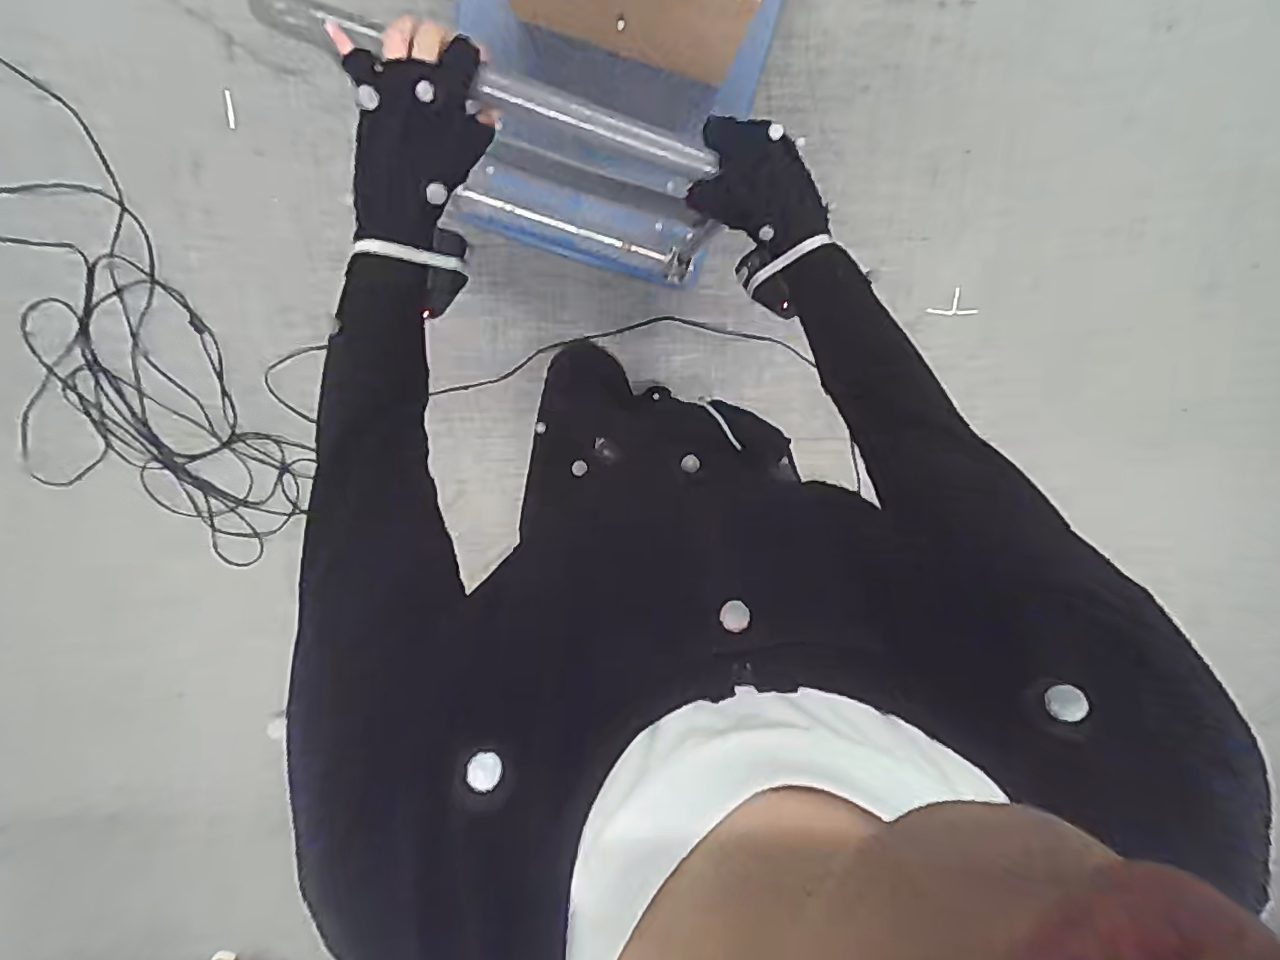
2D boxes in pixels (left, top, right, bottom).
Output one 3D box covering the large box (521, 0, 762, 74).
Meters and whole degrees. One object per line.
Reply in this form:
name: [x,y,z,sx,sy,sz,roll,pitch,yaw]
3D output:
large box: [0.017,-0.923,0.852,0.408,0.320,0.320,13,105,-6]
